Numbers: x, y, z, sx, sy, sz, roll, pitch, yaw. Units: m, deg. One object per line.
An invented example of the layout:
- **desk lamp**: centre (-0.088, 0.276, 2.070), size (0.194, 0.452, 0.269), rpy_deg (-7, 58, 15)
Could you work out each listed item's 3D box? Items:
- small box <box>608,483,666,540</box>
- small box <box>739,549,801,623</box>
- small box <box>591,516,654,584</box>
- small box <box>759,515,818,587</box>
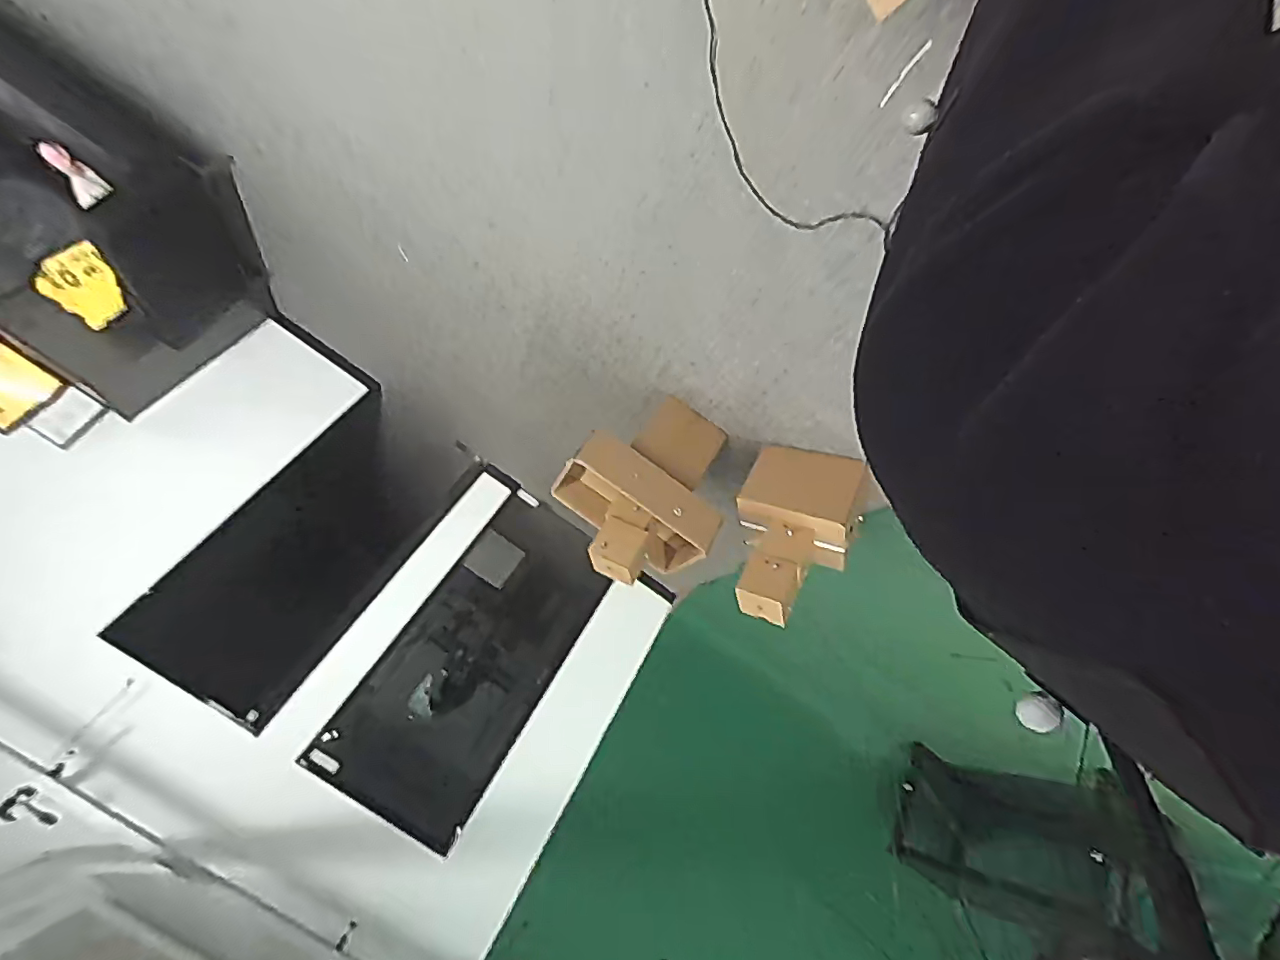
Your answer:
- **small box**: centre (-0.004, 0.137, 2.162), size (0.179, 0.176, 0.168), rpy_deg (20, 147, 21)
- **small box**: centre (0.470, 0.376, 1.928), size (0.168, 0.176, 0.179), rpy_deg (15, 146, 29)
- **small box**: centre (-0.061, 0.262, 2.067), size (0.179, 0.176, 0.168), rpy_deg (21, 149, 20)
- **small box**: centre (0.554, 0.261, 2.008), size (0.168, 0.176, 0.179), rpy_deg (17, 147, 27)
